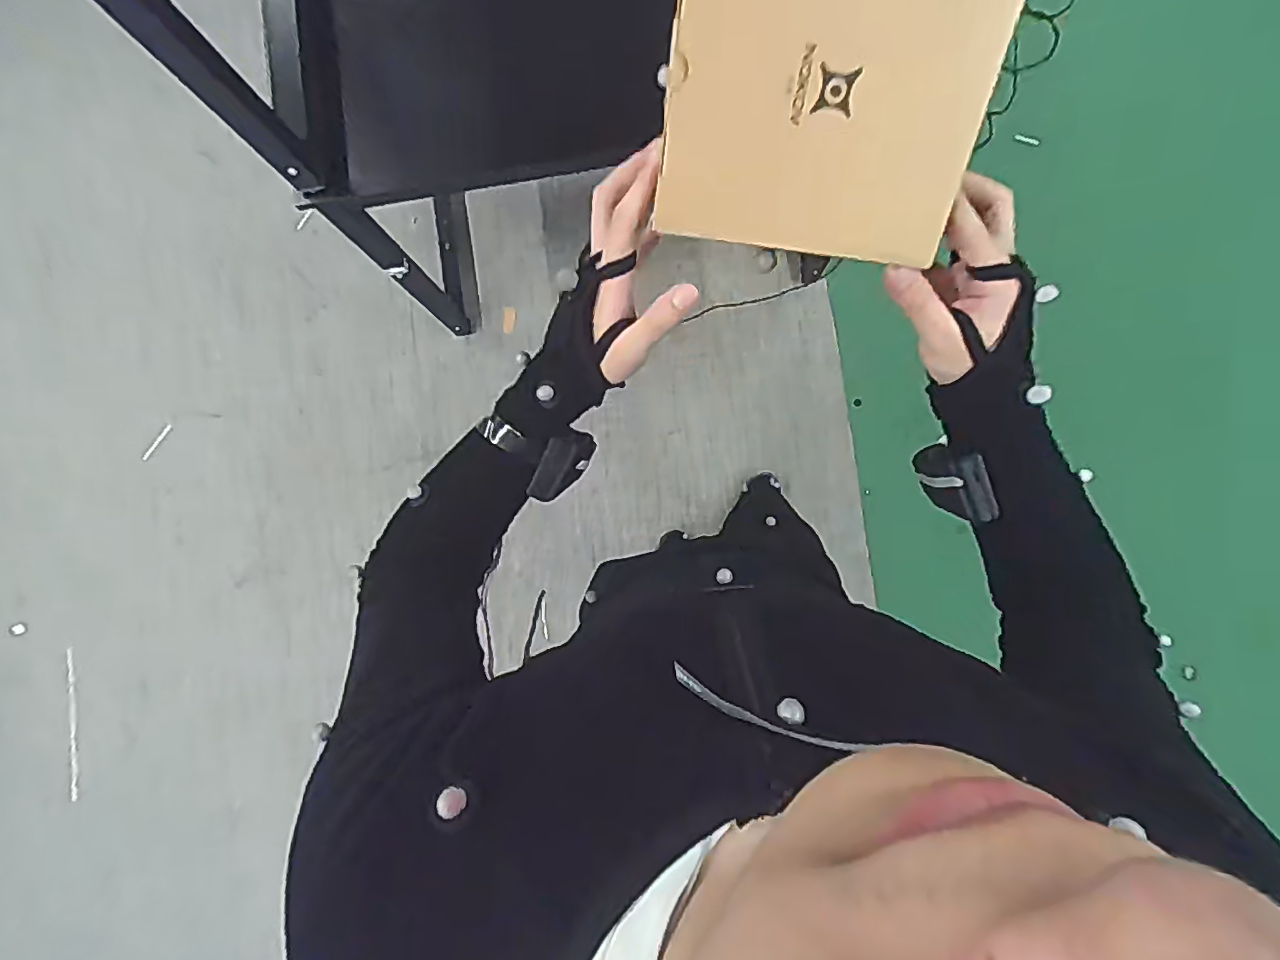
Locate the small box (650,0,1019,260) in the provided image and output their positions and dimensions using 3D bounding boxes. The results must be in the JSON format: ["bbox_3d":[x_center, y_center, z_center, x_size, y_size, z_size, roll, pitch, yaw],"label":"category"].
[{"bbox_3d":[0.108,-0.256,0.362,0.179,0.176,0.168,8,120,2],"label":"small box"}]
